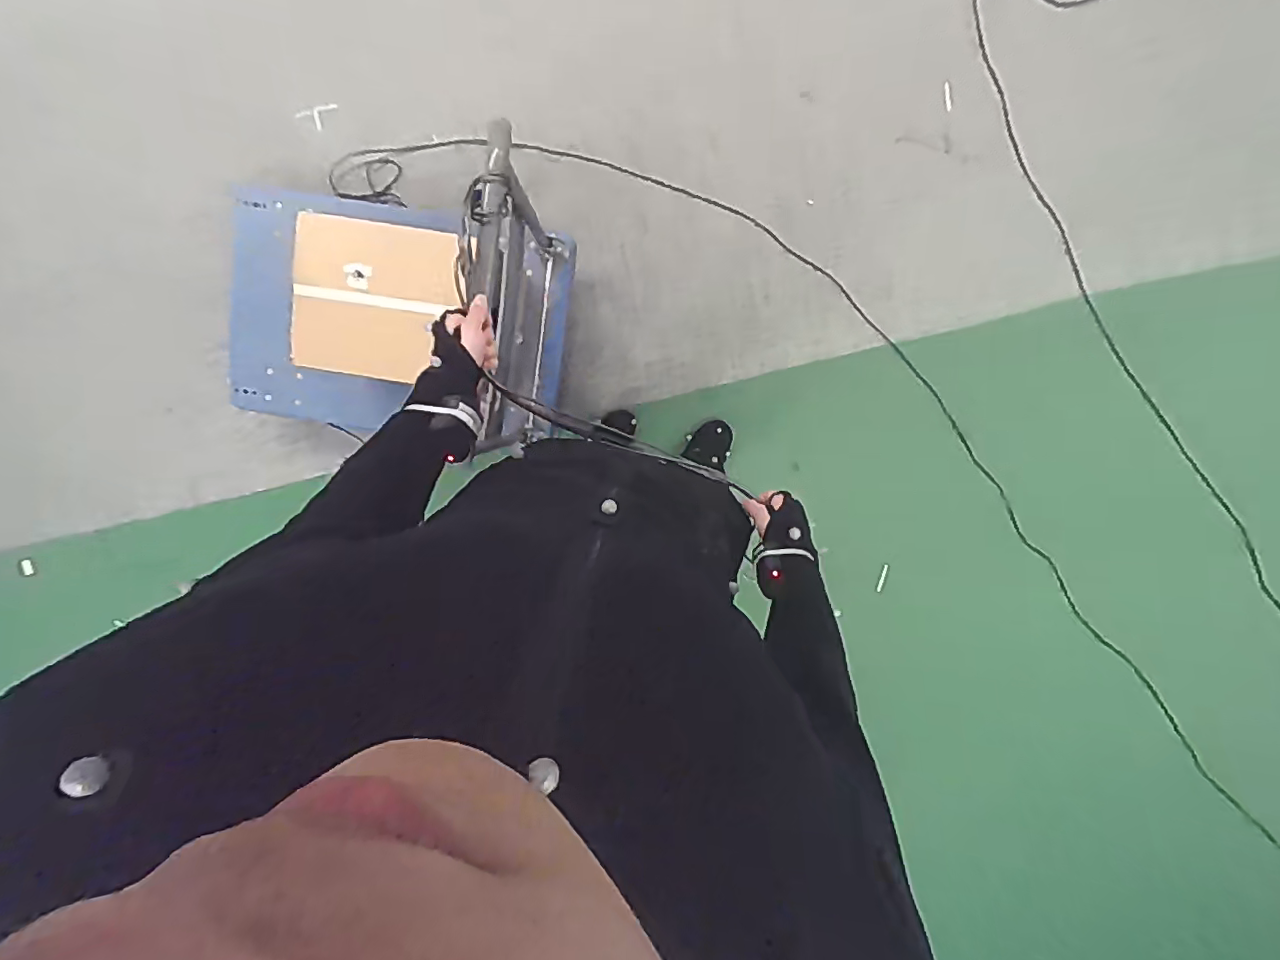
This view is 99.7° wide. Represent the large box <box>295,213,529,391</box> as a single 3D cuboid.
[{"bbox_3d":[-0.499,-0.384,1.252,0.408,0.320,0.320,9,98,2],"label":"large box"}]
